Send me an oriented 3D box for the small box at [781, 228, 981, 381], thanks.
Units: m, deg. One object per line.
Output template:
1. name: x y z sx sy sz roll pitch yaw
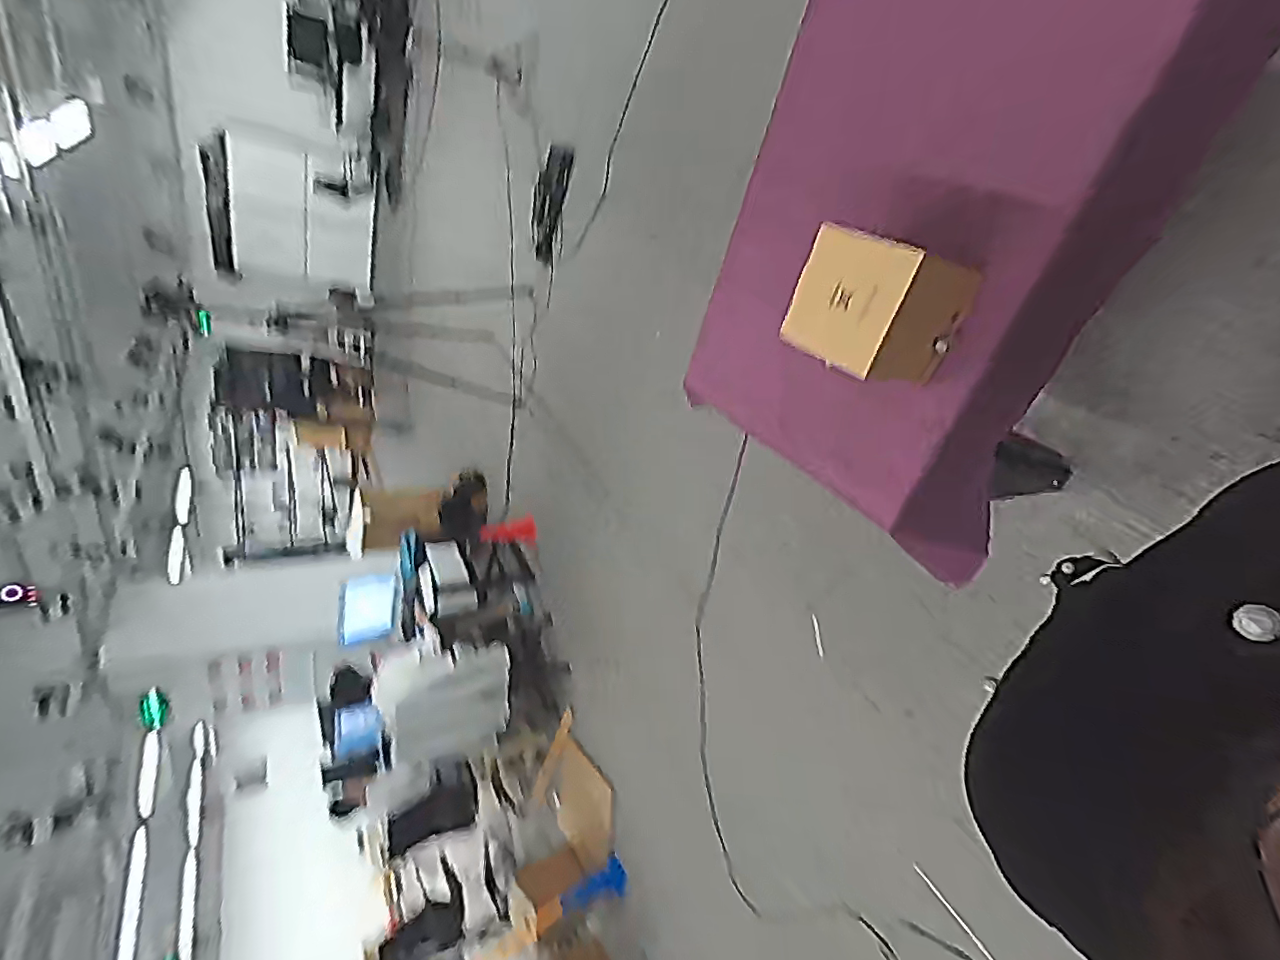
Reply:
1. small box: 0.352 -0.254 0.805 0.179 0.176 0.168 47 129 43
